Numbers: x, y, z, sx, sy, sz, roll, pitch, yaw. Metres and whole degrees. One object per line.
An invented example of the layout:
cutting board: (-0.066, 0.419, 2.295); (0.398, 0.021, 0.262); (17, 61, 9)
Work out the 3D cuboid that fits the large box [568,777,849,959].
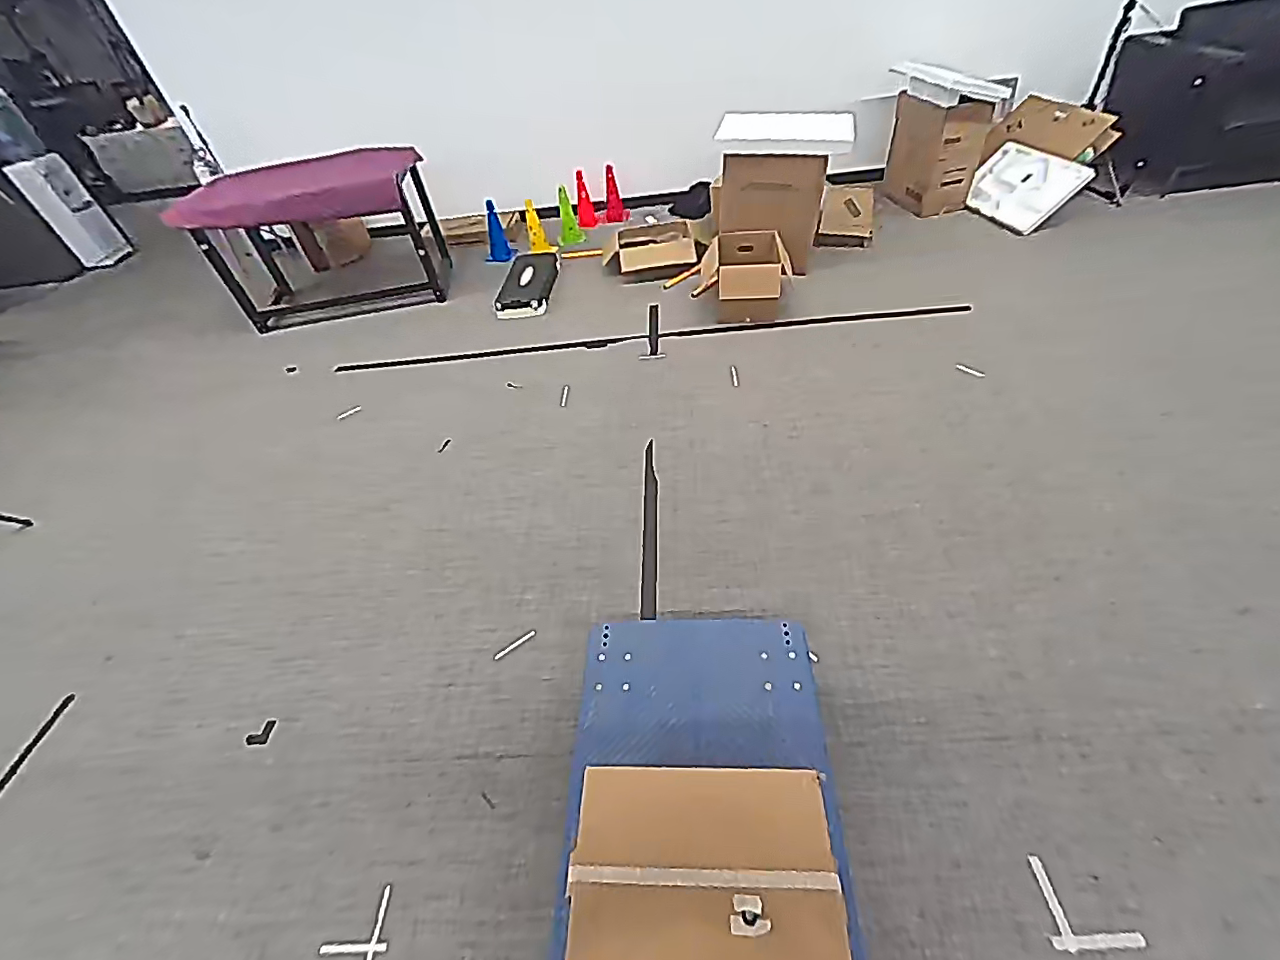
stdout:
large box: (0.106, 0.724, 0.919); (0.408, 0.320, 0.320); (-2, 45, 5)
